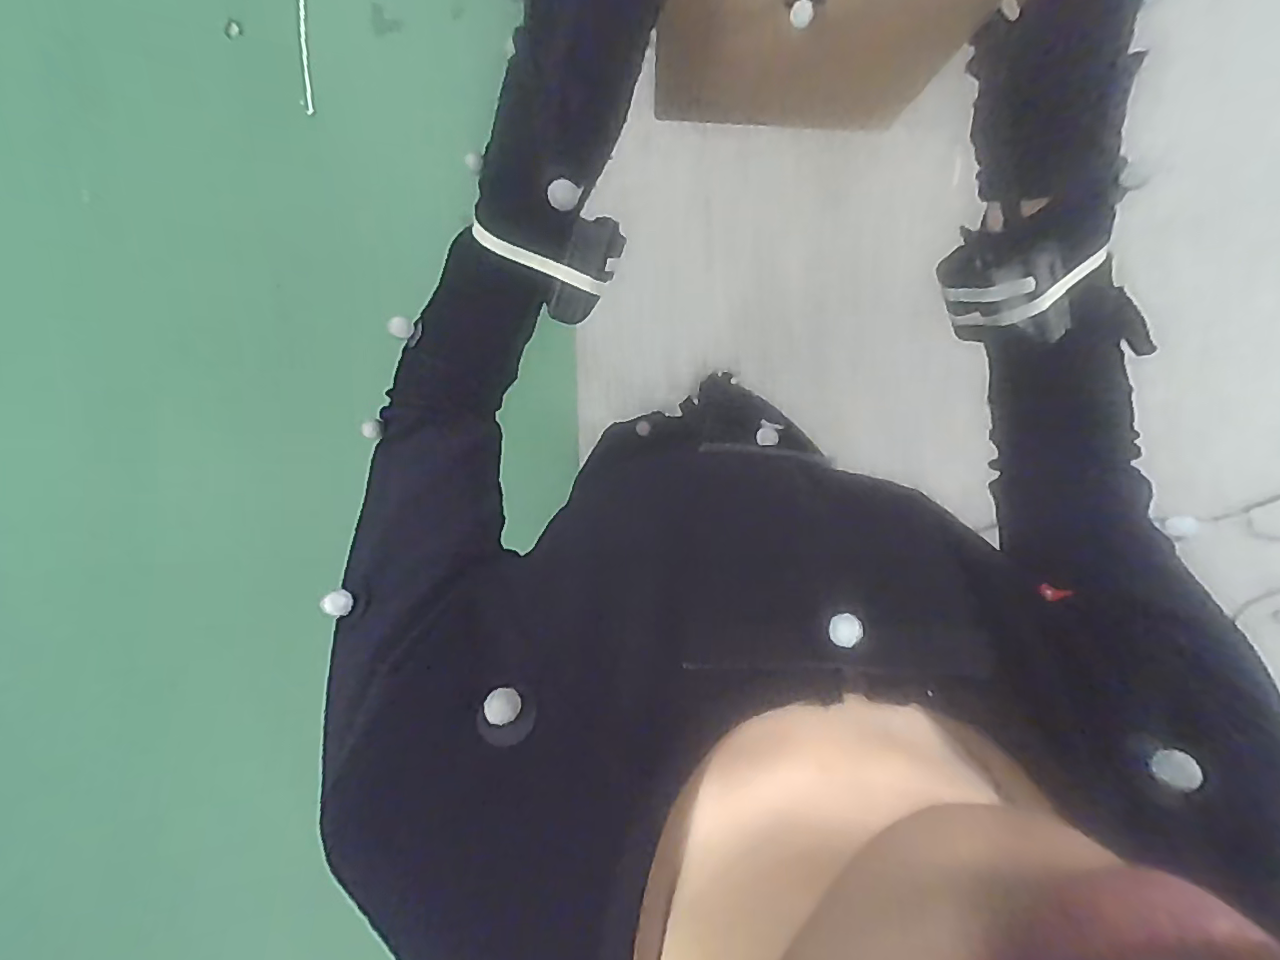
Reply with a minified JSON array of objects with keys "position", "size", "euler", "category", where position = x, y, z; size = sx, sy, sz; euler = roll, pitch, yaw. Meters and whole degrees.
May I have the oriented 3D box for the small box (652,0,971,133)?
[{"position":[0.098,-0.331,0.313],"size":[0.179,0.176,0.168],"euler":[3,97,-1],"category":"small box"}]
